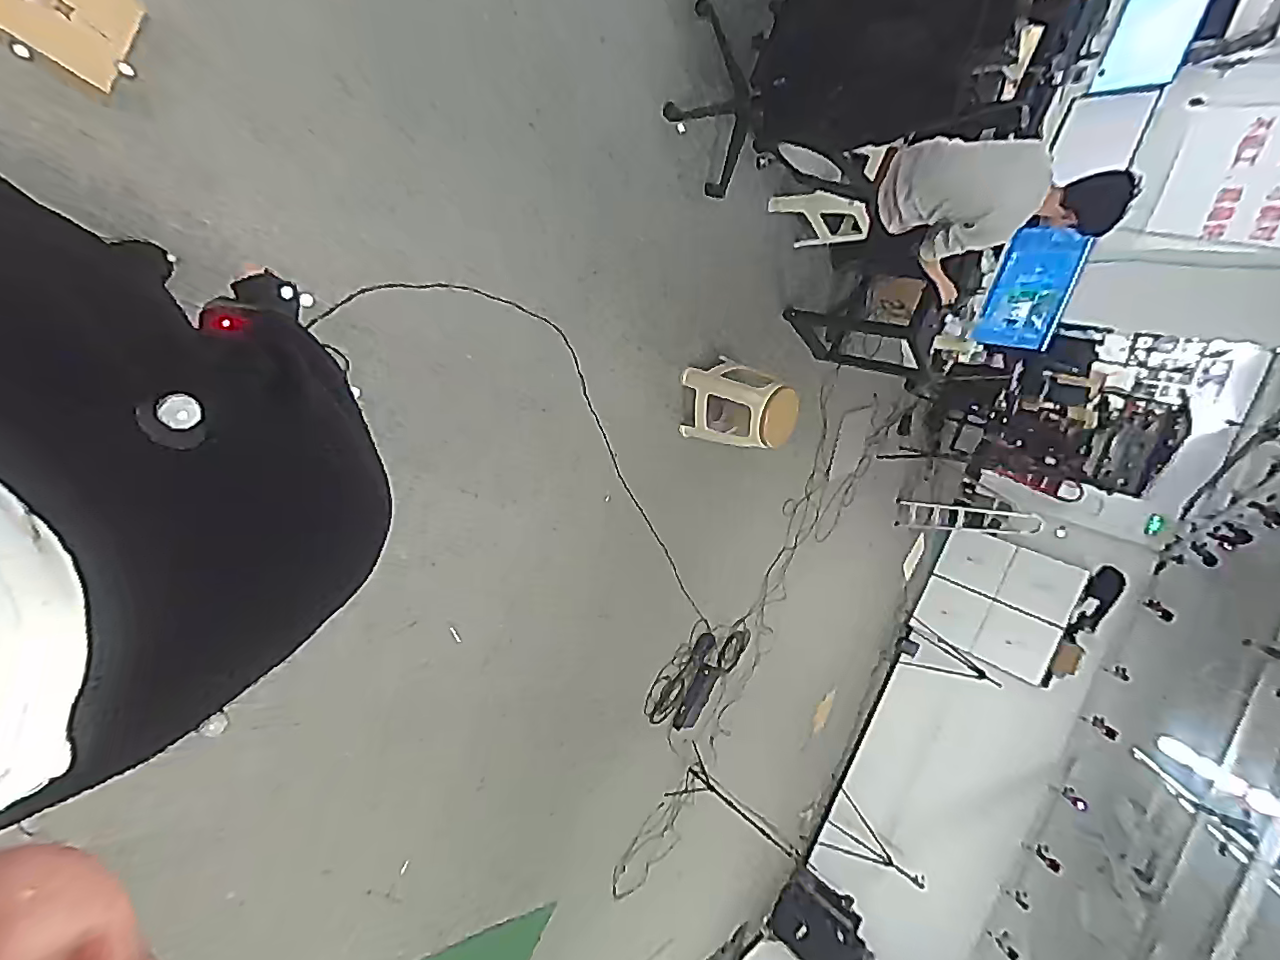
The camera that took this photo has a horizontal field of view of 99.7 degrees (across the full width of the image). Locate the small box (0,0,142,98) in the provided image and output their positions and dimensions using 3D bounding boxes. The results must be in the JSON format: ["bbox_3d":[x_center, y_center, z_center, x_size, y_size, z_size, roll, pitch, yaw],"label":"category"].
[{"bbox_3d":[-0.985,-0.777,0.898,0.179,0.176,0.168,32,86,-50],"label":"small box"}]
